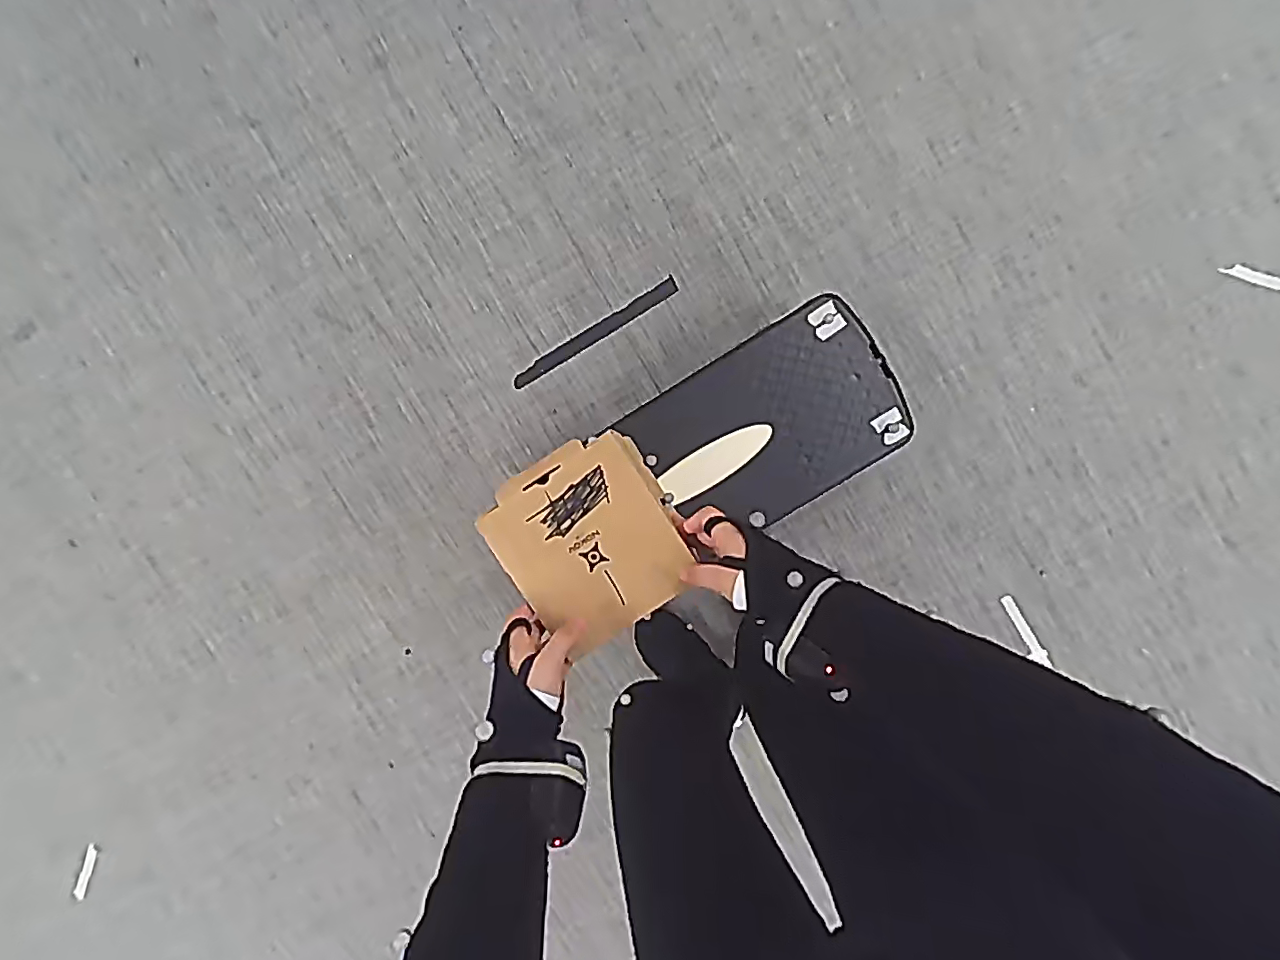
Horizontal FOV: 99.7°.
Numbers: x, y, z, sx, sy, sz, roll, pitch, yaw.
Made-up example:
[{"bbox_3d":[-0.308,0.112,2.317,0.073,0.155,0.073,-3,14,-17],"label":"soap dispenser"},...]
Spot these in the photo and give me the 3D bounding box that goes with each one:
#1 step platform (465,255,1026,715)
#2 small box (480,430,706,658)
[{"bbox_3d":[0.123,0.011,0.739,0.684,0.204,0.286,-32,93,2],"label":"step platform"},{"bbox_3d":[-0.047,0.061,0.615,0.168,0.176,0.179,-33,93,3],"label":"small box"}]
